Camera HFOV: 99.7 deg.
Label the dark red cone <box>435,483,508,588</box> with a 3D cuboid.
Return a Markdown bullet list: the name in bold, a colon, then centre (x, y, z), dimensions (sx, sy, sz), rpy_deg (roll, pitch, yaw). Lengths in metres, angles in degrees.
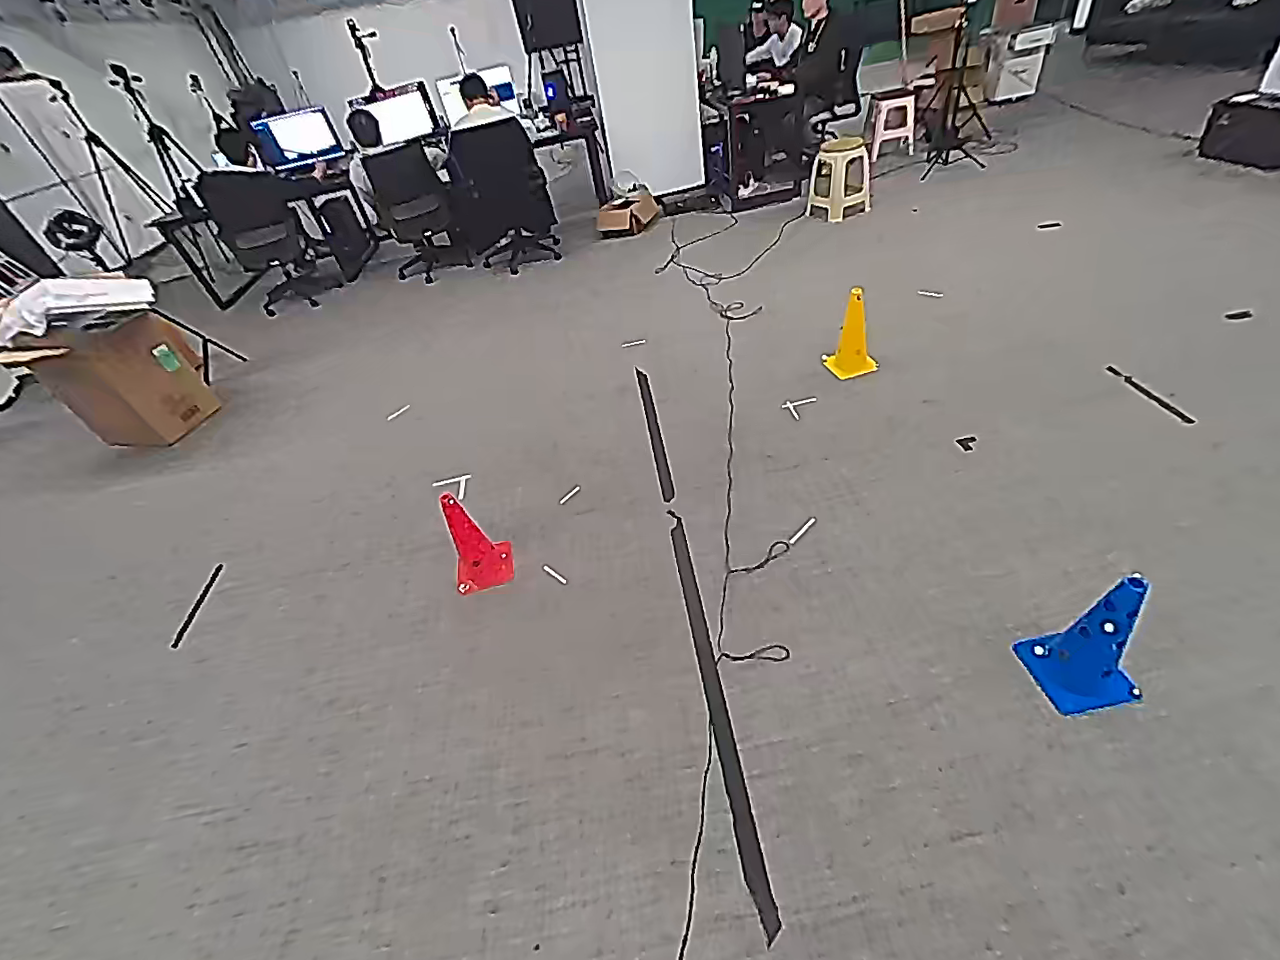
- **dark red cone**: centre (-0.596, 0.167, 1.815), dimensions (0.201, 0.394, 0.202), rpy_deg (-16, 41, -6)

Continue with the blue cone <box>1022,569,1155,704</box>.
- **blue cone**: centre (1.057, 0.336, 1.231), dimensions (0.192, 0.380, 0.193), rpy_deg (-11, 41, 1)
